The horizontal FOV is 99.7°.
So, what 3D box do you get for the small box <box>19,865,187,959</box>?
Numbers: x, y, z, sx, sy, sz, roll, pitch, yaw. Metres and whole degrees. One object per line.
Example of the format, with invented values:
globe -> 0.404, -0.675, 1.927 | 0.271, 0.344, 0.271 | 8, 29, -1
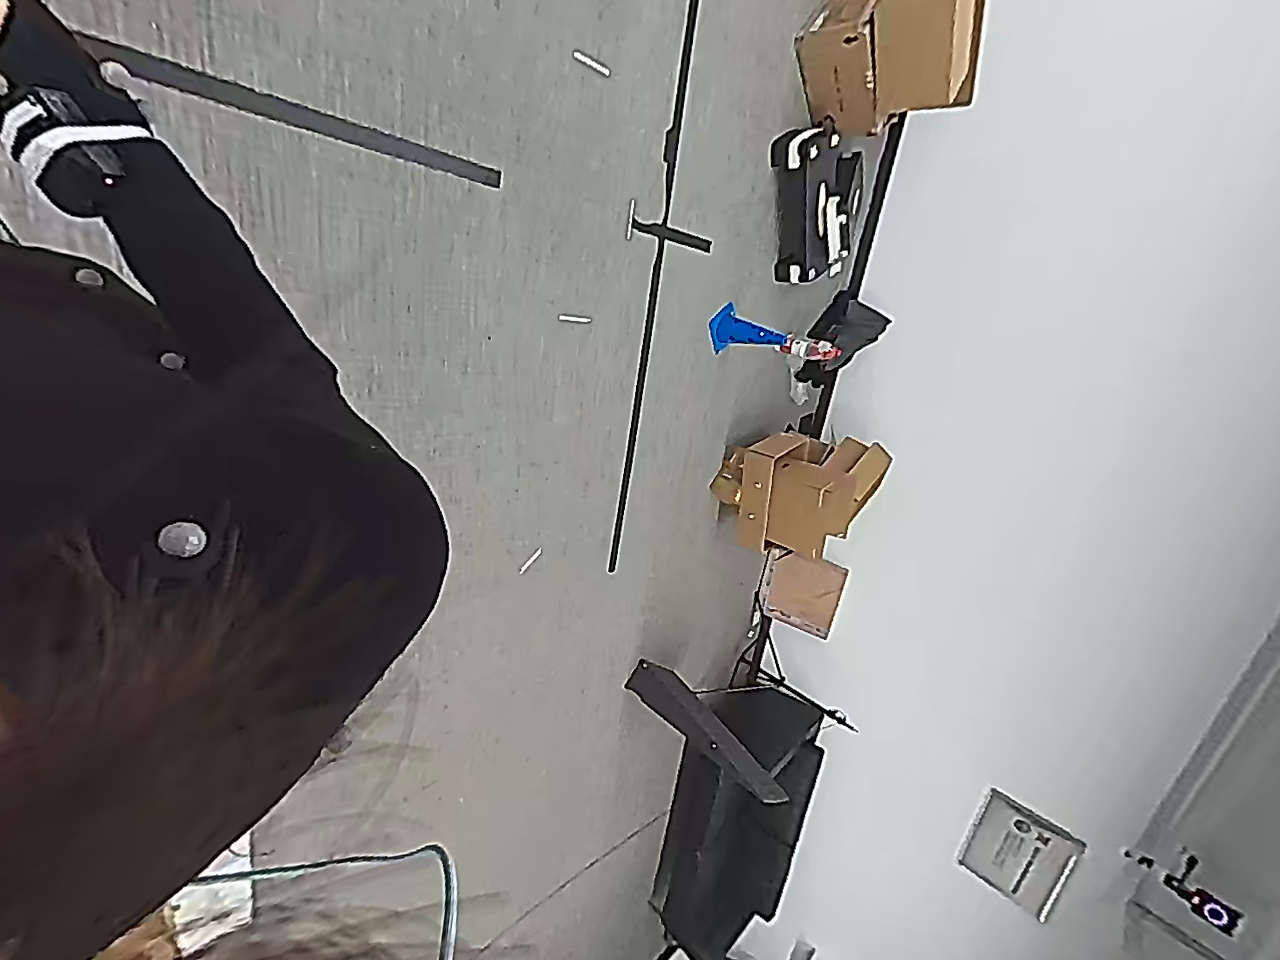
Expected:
small box -> -0.911, 0.821, 0.926 | 0.179, 0.176, 0.168 | -17, 121, -44
